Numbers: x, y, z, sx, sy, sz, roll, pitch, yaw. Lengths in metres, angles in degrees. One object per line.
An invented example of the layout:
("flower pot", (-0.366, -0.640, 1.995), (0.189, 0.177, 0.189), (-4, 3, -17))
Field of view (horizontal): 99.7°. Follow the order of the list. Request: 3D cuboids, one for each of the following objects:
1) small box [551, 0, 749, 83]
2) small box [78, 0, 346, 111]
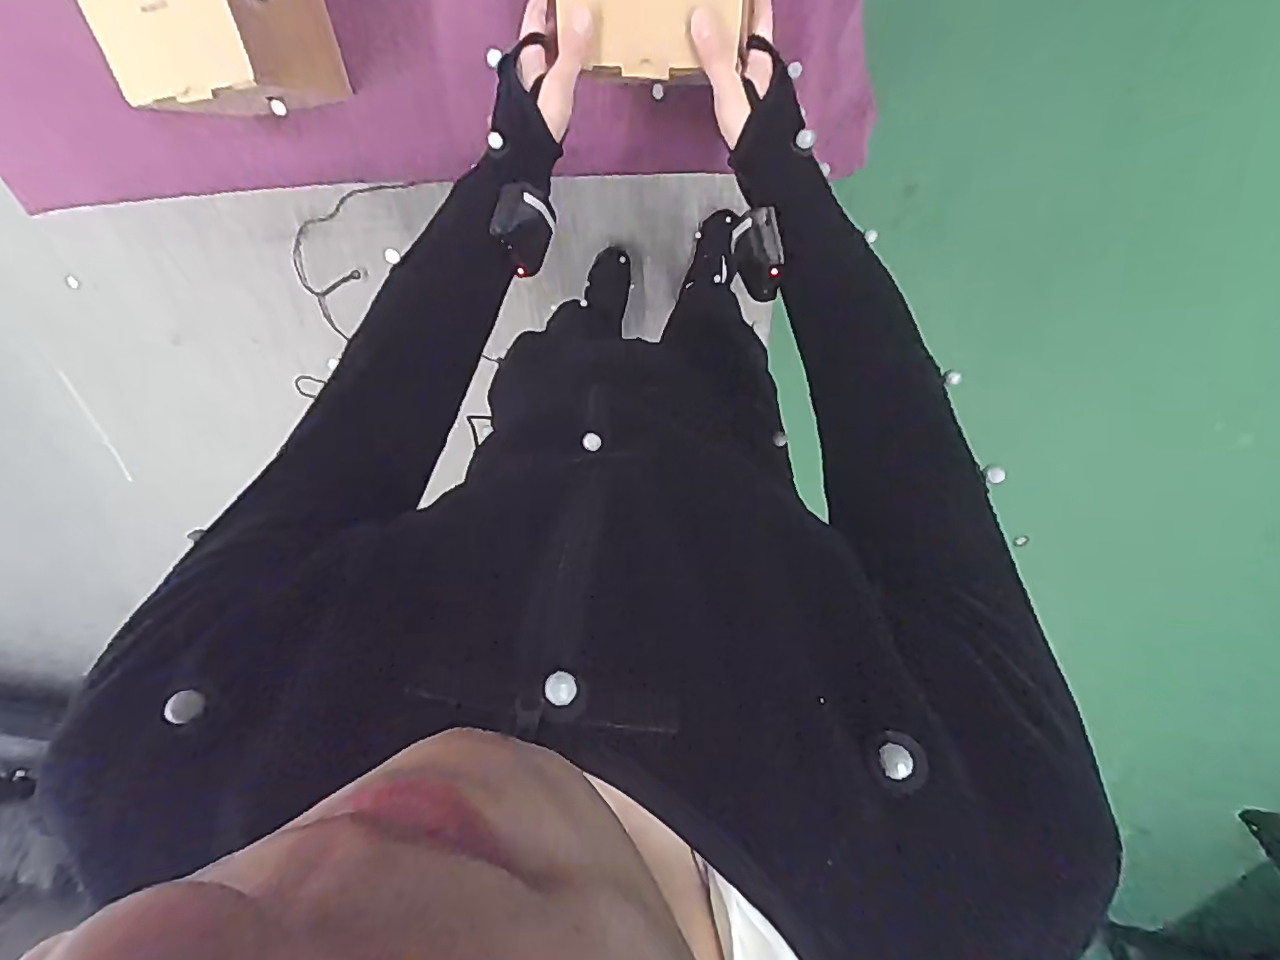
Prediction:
("small box", (0.019, -0.483, 0.505), (0.168, 0.176, 0.179), (7, 125, 7))
("small box", (-0.462, -0.515, 0.588), (0.168, 0.176, 0.179), (0, 121, 11))
